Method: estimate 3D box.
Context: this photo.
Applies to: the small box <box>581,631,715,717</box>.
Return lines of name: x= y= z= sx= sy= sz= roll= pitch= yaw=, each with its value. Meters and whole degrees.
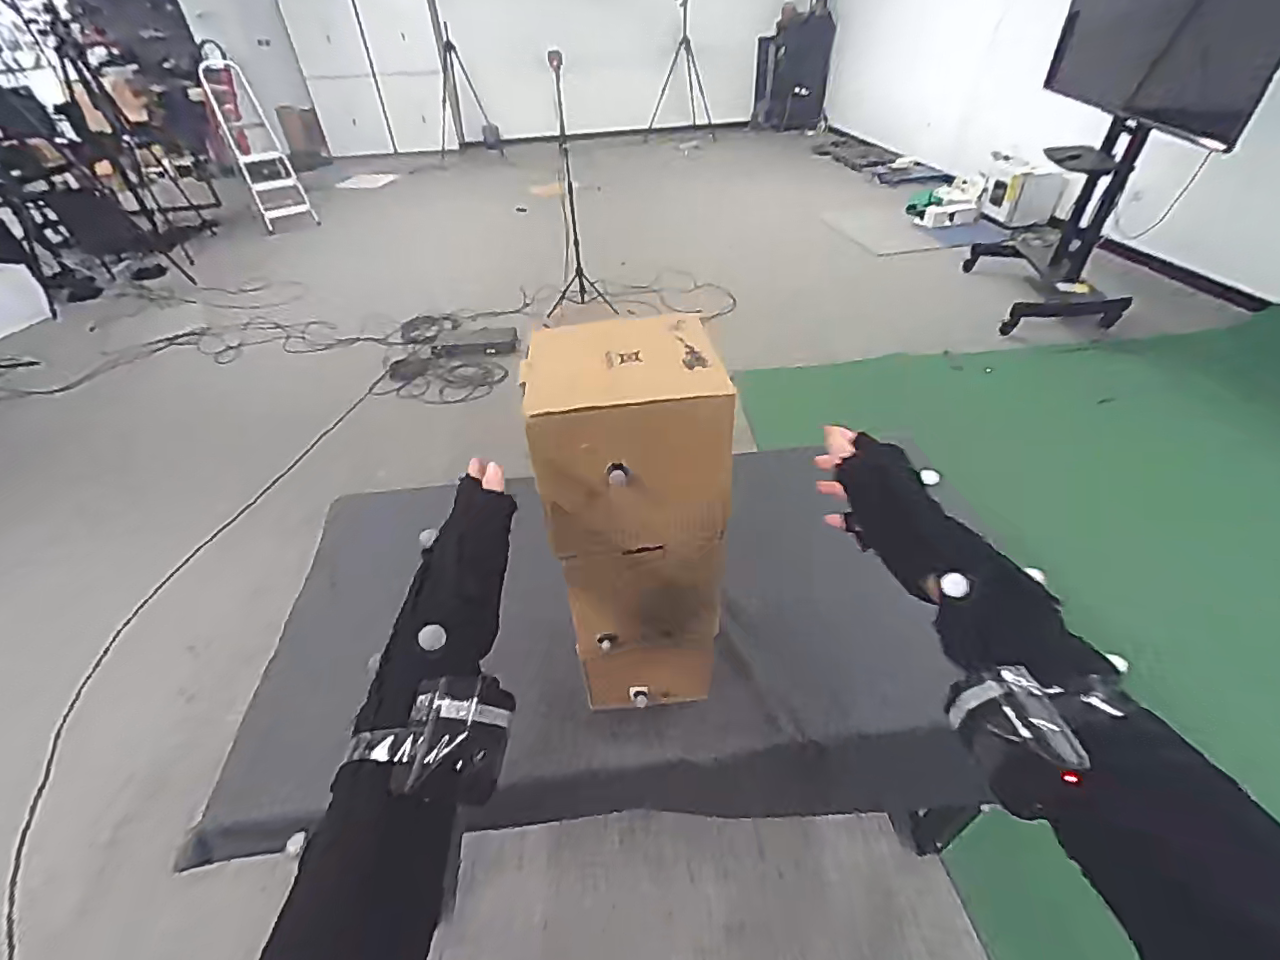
small box: x=0.008 y=0.207 z=0.766 sx=0.168 sy=0.176 sz=0.179 roll=-7 pitch=41 yaw=-2

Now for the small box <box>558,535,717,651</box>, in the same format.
small box: x=-0.005 y=0.087 z=0.654 sx=0.168 sy=0.176 sz=0.179 roll=-9 pitch=38 yaw=-4

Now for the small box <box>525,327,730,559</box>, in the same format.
small box: x=-0.013 y=-0.038 z=0.553 sx=0.179 sy=0.176 sz=0.168 roll=-9 pitch=38 yaw=-5
